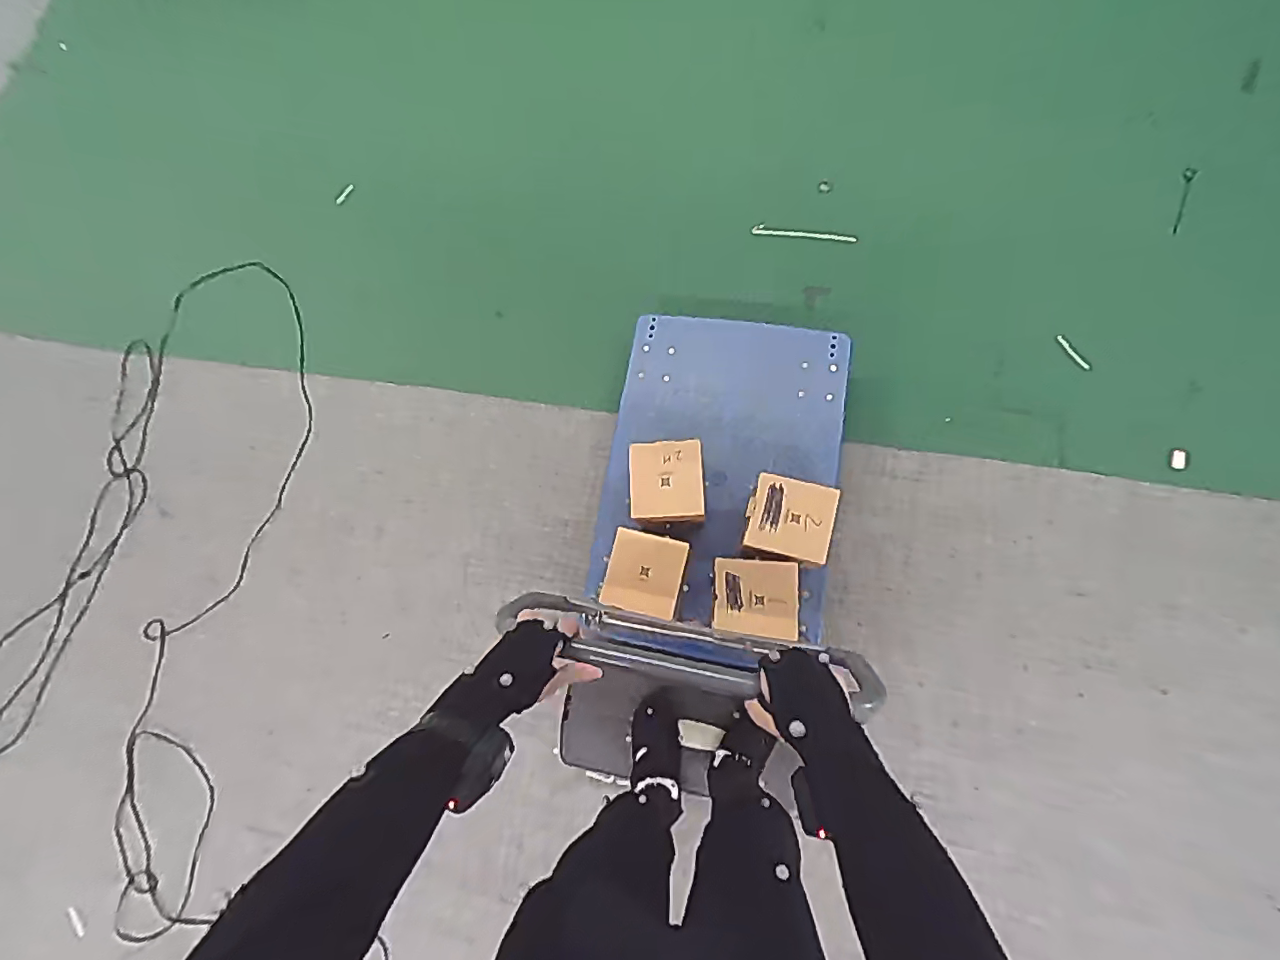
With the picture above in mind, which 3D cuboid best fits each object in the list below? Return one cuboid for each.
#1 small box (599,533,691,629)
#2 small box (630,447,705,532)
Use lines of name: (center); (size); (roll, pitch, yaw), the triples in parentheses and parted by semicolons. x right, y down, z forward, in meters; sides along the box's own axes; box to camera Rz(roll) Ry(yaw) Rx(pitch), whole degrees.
small box: (0.018, 0.236, 1.249); (0.168, 0.176, 0.179); (13, 79, 10)
small box: (0.069, 0.030, 1.288); (0.168, 0.176, 0.179); (-3, 76, 6)
